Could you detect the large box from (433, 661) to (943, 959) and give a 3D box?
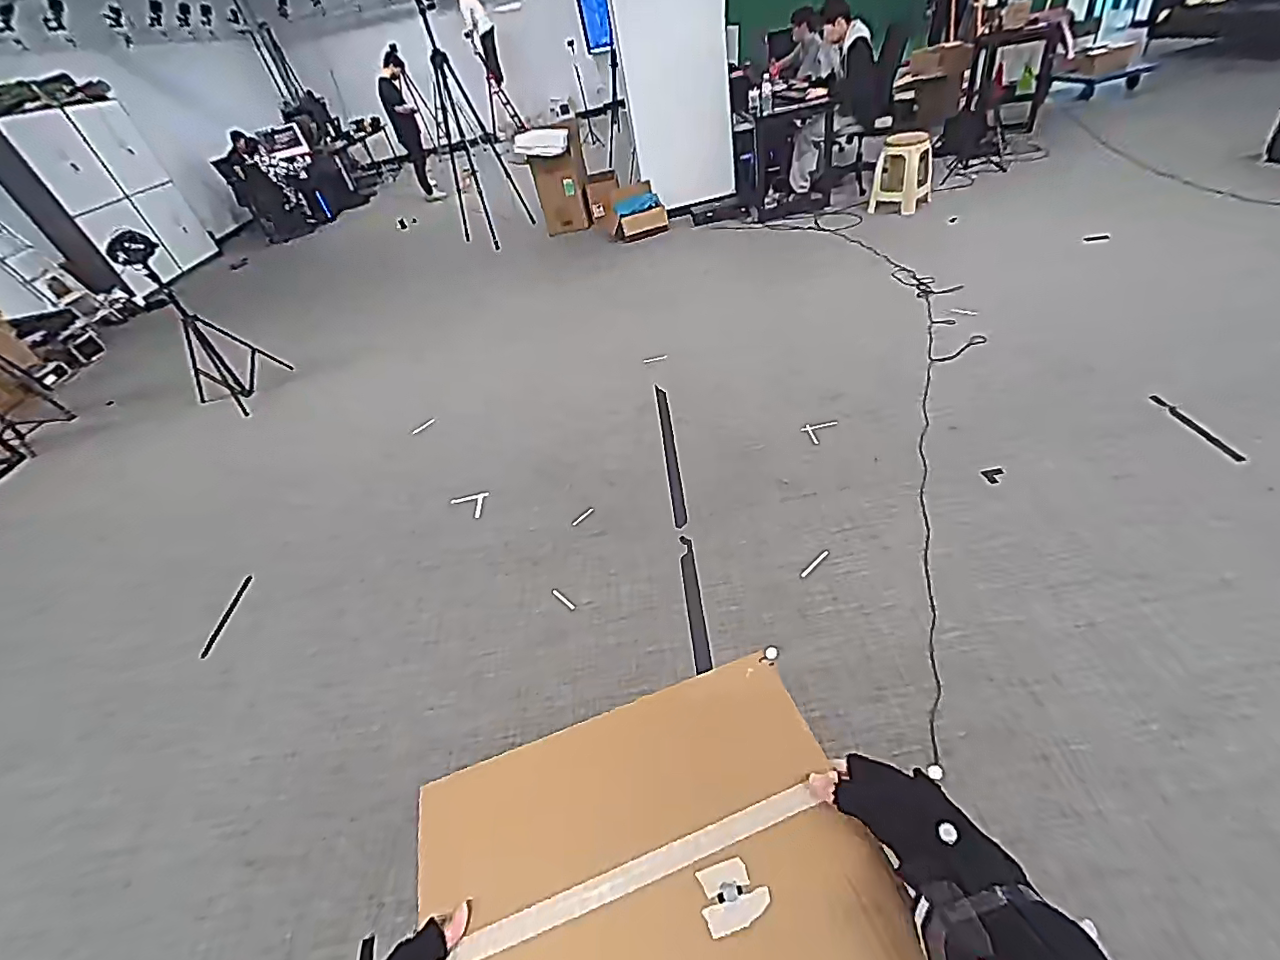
[{"bbox_3d":[0.029,0.478,0.593,0.408,0.320,0.320,-18,40,-10],"label":"large box"}]
